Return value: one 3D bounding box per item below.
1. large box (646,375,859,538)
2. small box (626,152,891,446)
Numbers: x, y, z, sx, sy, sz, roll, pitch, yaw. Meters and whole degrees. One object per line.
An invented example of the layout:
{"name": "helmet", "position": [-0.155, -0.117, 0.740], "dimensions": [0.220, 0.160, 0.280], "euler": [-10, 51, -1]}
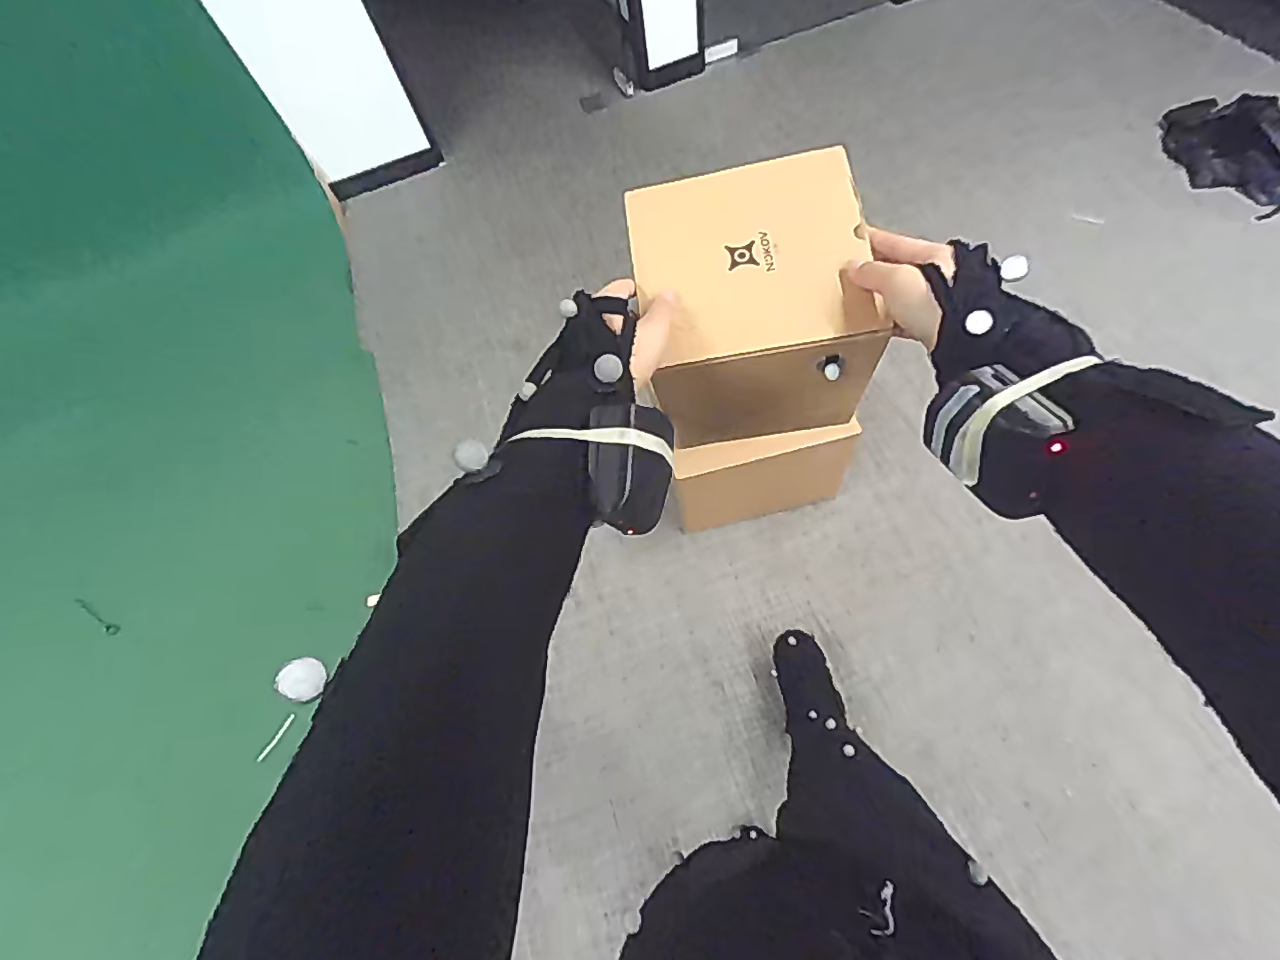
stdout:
{"name": "large box", "position": [0.254, -0.094, 1.331], "dimensions": [0.408, 0.320, 0.320], "euler": [-14, 61, 0]}
{"name": "small box", "position": [0.094, -0.141, 0.480], "dimensions": [0.179, 0.176, 0.168], "euler": [-9, 71, 7]}
